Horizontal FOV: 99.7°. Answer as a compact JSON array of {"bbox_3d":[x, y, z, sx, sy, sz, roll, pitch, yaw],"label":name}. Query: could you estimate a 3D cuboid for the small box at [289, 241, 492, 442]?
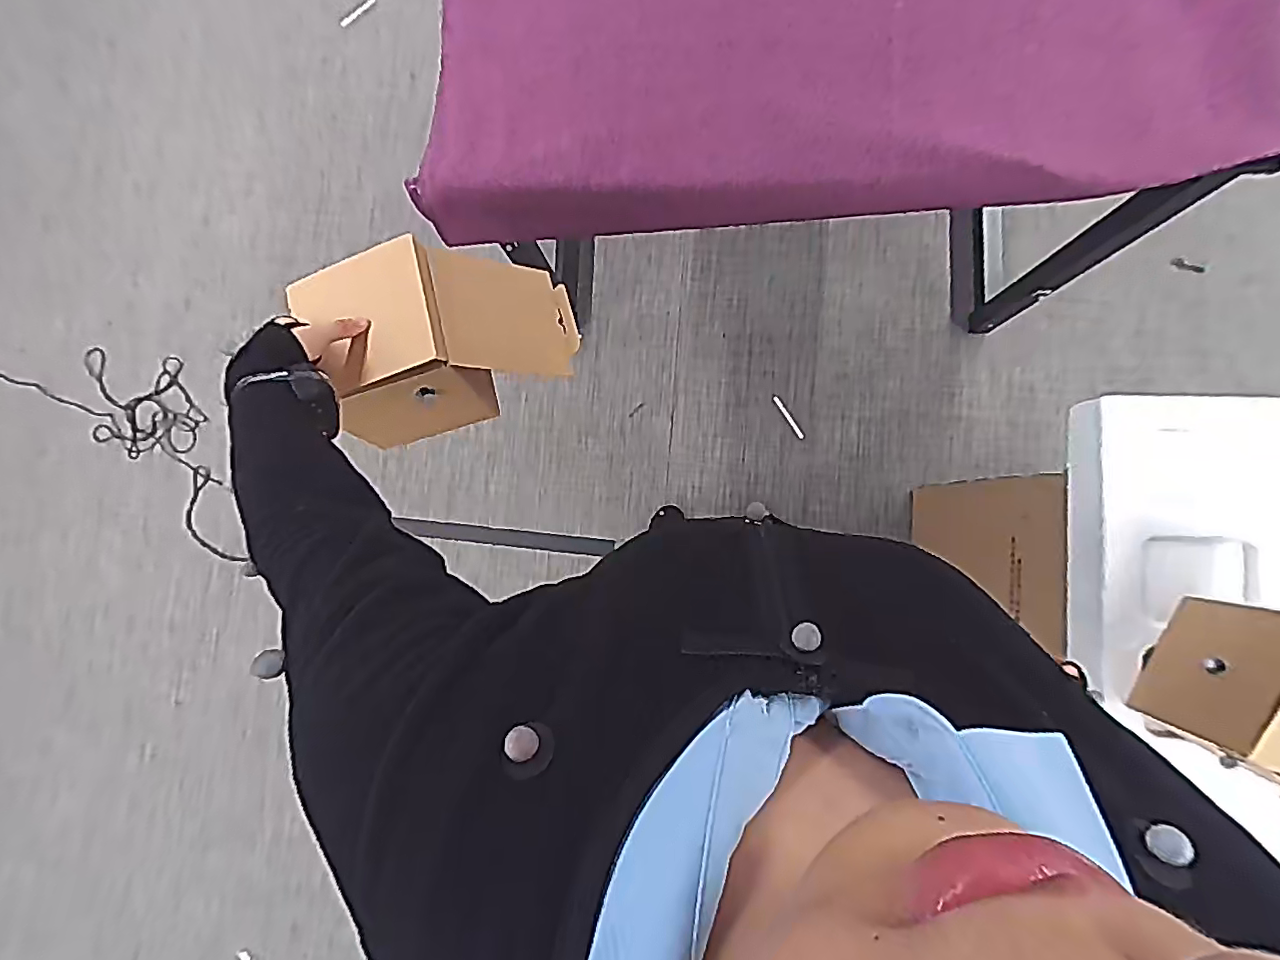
[{"bbox_3d":[-0.304,-0.165,0.694,0.179,0.176,0.168,-16,76,2],"label":"small box"}]
